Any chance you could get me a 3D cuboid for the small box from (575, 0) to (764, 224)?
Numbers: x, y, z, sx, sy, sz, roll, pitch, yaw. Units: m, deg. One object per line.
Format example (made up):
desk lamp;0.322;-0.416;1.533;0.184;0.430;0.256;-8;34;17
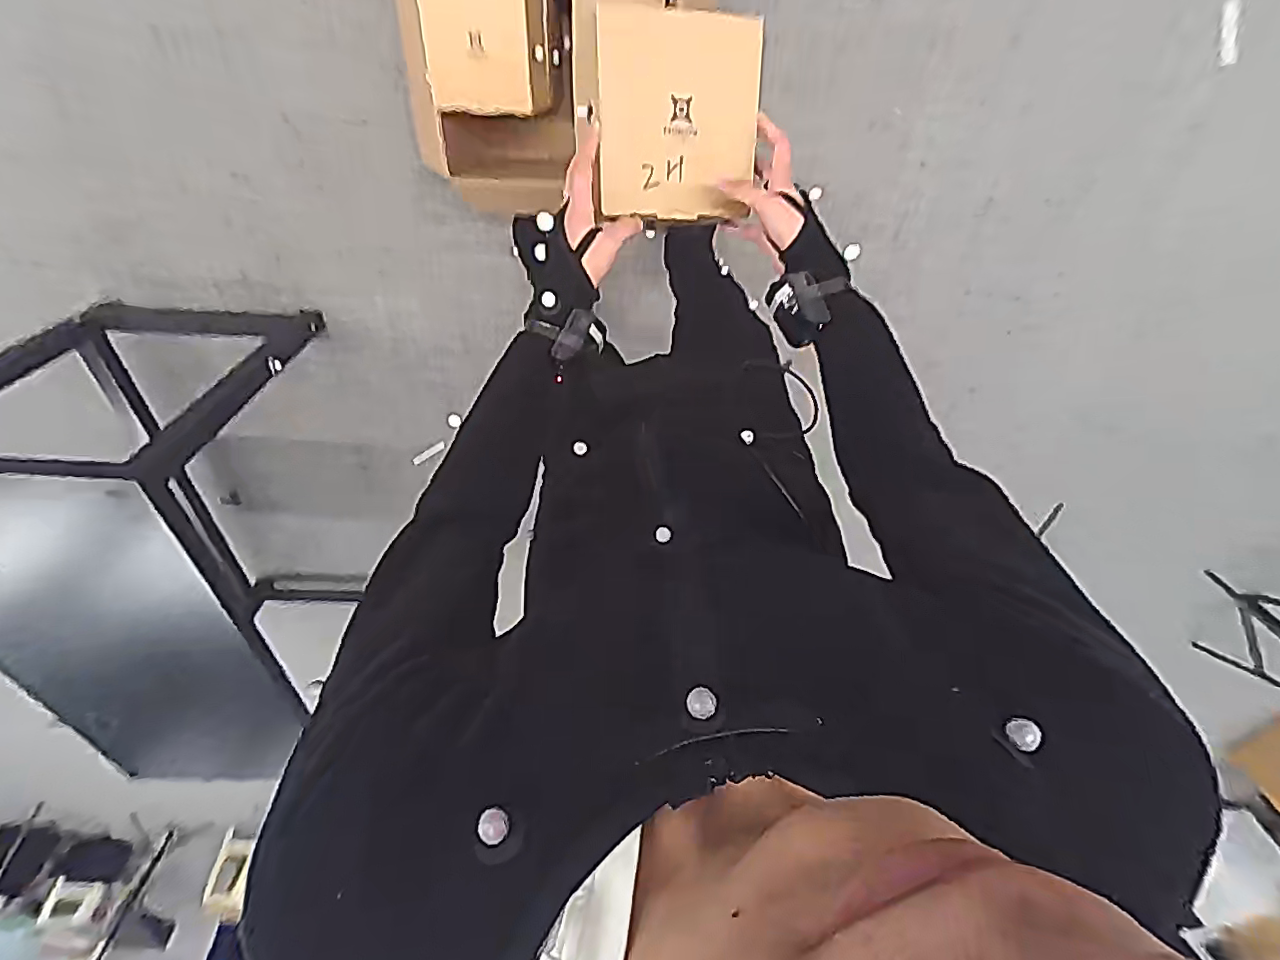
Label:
small box;0.021;-0.387;0.600;0.168;0.176;0.179;-5;114;-12
